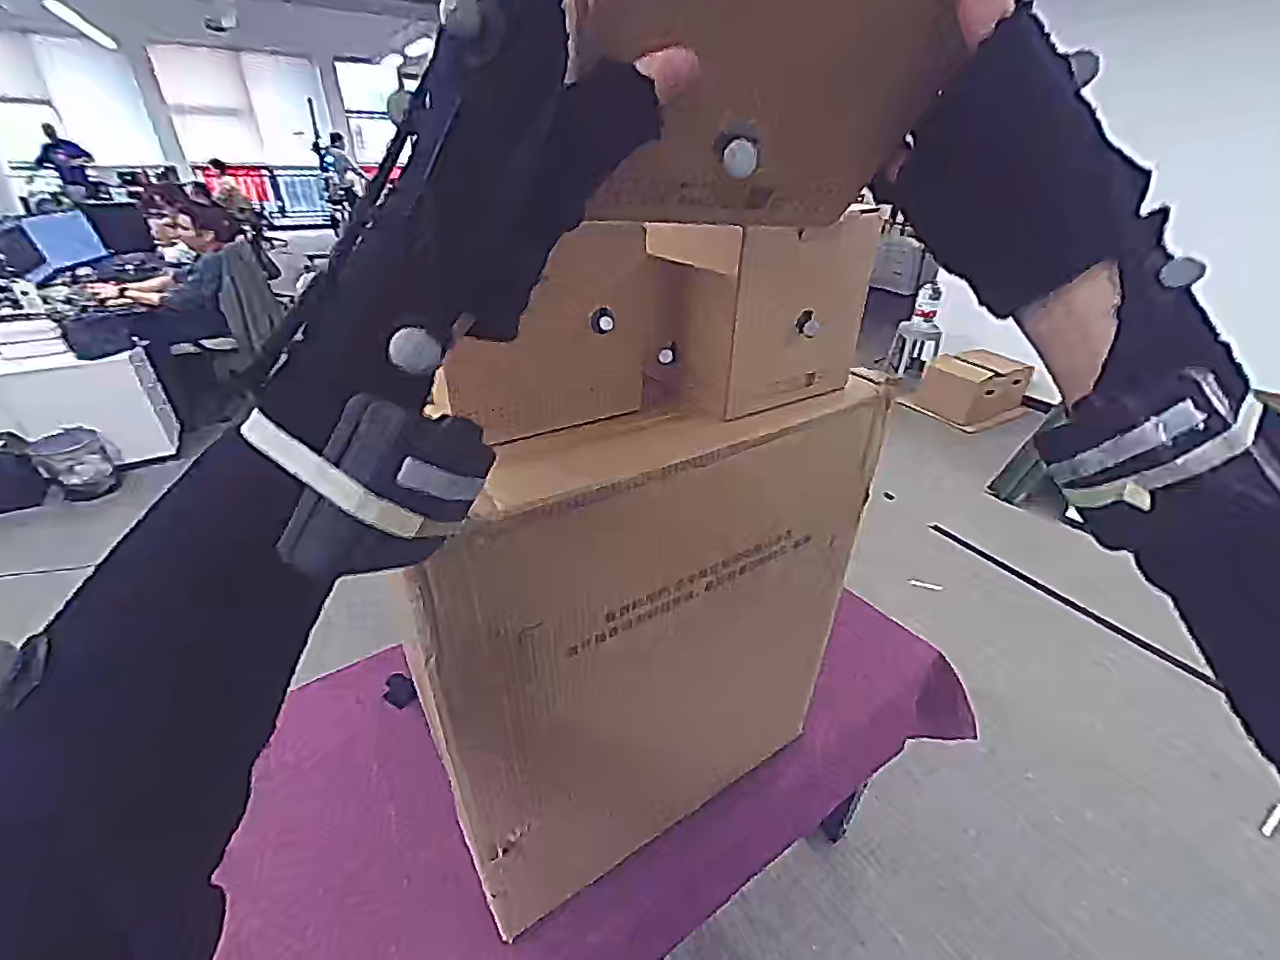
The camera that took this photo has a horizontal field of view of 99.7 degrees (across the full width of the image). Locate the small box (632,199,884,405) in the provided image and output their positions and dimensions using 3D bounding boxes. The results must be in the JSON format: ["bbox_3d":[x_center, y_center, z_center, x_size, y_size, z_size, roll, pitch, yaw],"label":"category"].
[{"bbox_3d":[0.105,-0.186,0.546,0.168,0.176,0.179,-18,36,-26],"label":"small box"}]

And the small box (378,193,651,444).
[{"bbox_3d":[-0.108,-0.151,0.478,0.179,0.176,0.168,-18,36,-28],"label":"small box"}]

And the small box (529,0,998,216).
[{"bbox_3d":[0.043,-0.253,0.242,0.168,0.176,0.179,-7,72,-17],"label":"small box"}]
